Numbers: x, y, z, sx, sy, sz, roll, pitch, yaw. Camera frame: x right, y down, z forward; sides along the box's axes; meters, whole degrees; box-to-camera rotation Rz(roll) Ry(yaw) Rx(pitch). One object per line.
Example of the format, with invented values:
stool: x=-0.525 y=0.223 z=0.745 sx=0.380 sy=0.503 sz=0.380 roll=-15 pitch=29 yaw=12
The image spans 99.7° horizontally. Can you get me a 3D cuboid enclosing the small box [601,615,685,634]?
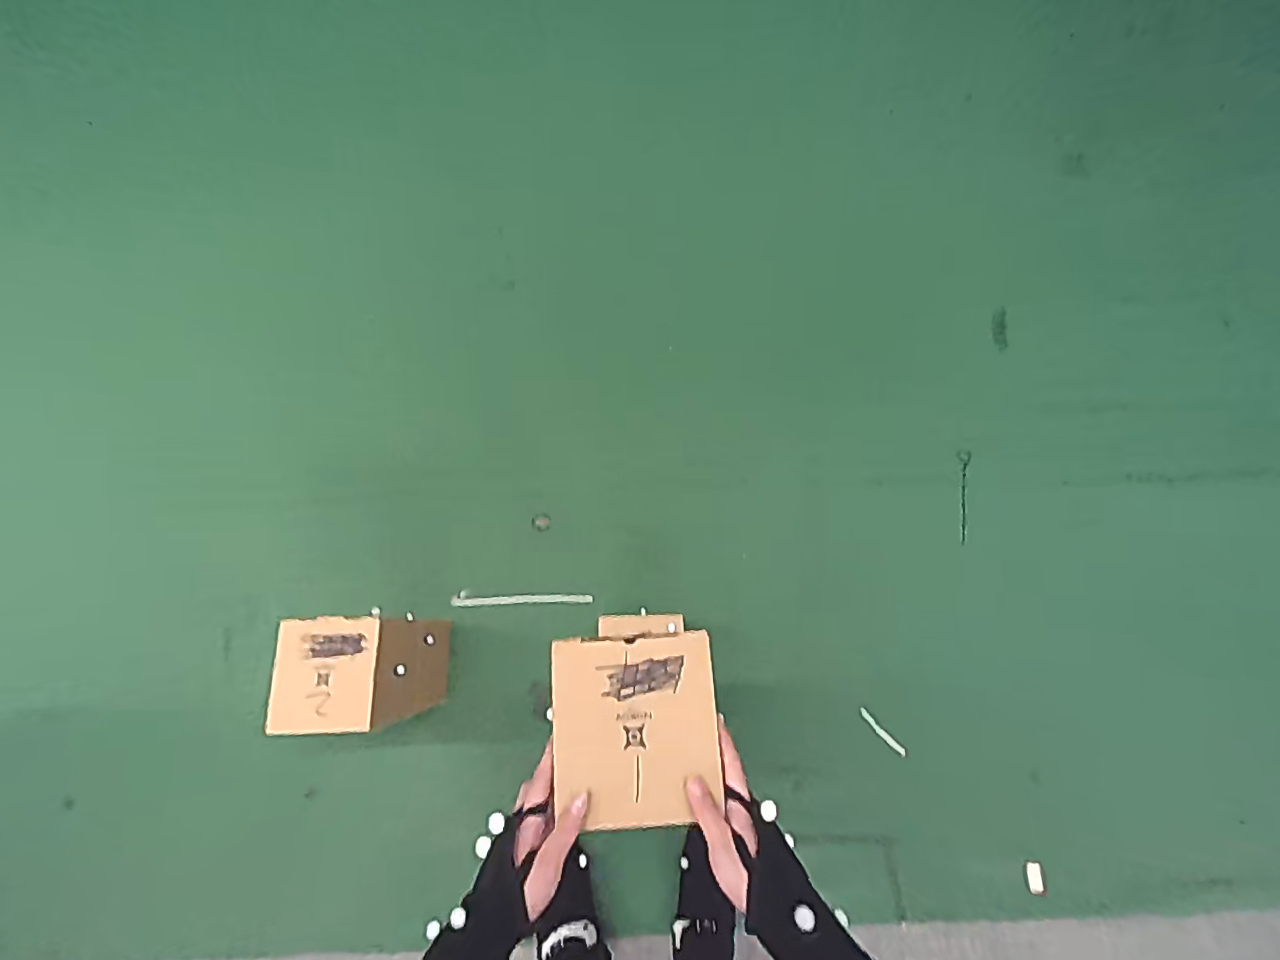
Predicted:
small box: x=0.004 y=0.369 z=1.096 sx=0.168 sy=0.176 sz=0.179 roll=-1 pitch=74 yaw=-1

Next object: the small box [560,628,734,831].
small box: x=0.002 y=0.263 z=0.603 sx=0.168 sy=0.176 sz=0.179 roll=-3 pitch=73 yaw=-1

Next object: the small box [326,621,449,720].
small box: x=-0.498 y=0.378 z=1.094 sx=0.168 sy=0.176 sz=0.179 roll=-2 pitch=73 yaw=0
